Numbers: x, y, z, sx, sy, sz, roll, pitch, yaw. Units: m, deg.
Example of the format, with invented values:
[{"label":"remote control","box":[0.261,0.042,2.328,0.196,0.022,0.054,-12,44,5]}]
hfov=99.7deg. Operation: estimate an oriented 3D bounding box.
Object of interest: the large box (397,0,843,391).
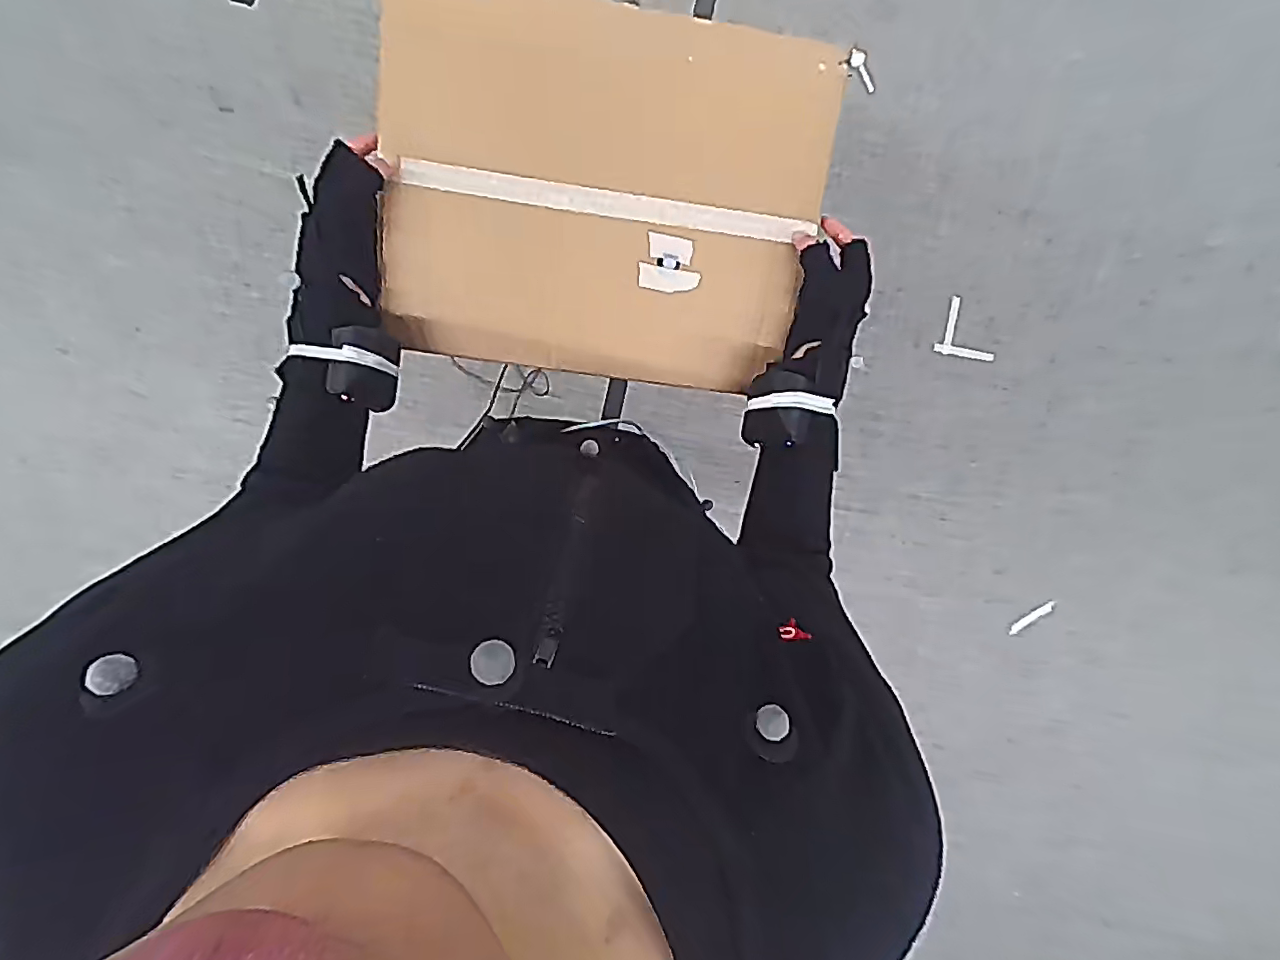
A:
[{"label":"large box","box":[-0.038,-0.298,0.660,0.408,0.320,0.320,7,105,-6]}]
